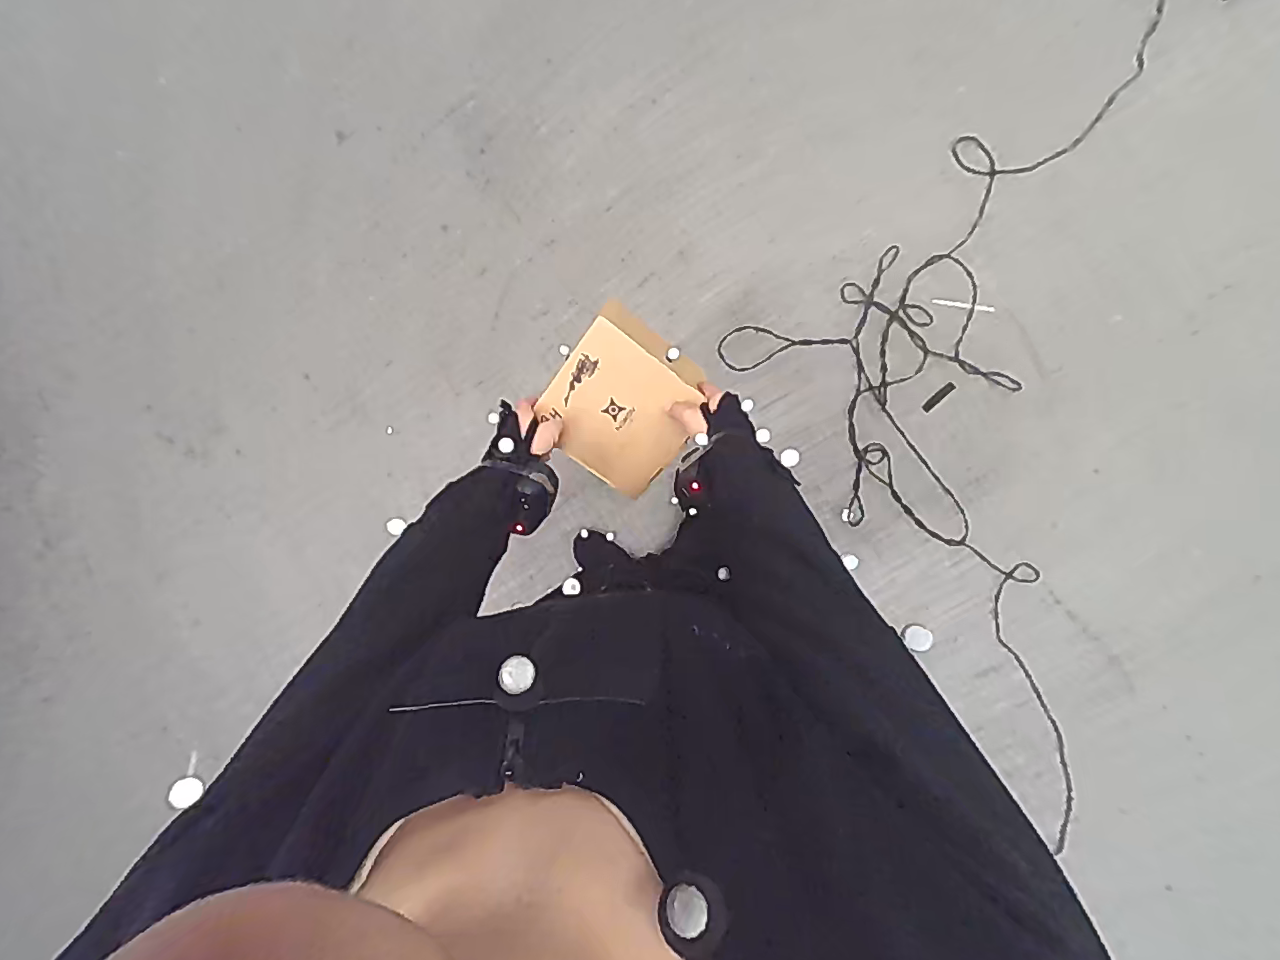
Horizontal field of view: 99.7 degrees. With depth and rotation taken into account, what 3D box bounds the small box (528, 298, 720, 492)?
[{"bbox_3d":[-0.017,-0.122,0.720,0.179,0.176,0.168,36,111,-14],"label":"small box"}]
